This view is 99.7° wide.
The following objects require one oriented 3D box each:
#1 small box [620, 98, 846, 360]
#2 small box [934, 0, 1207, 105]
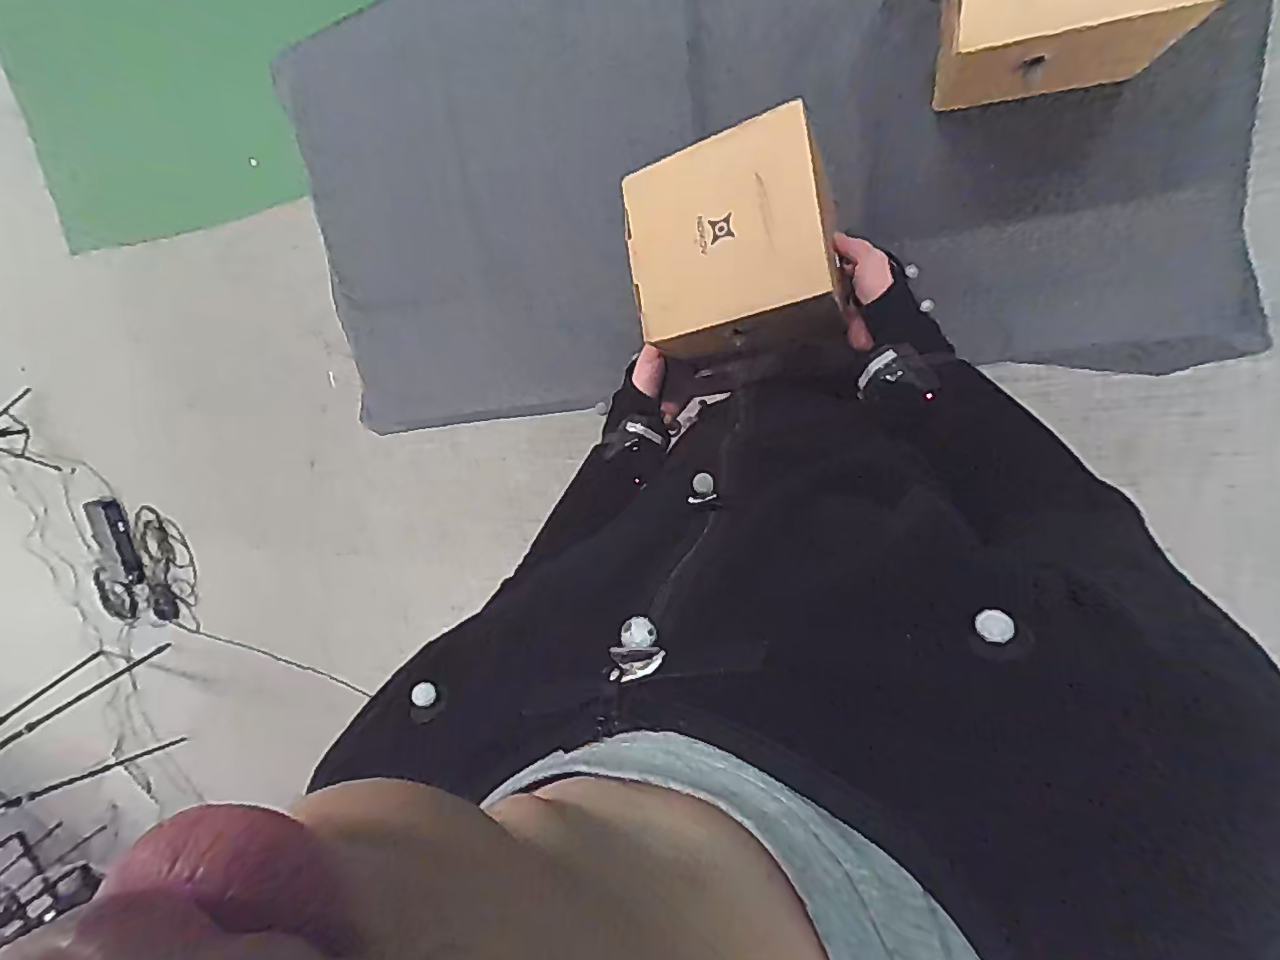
[{"bbox_3d":[0.103,-0.229,0.553,0.179,0.176,0.168,-9,90,25],"label":"small box"},{"bbox_3d":[0.362,-0.452,0.465,0.179,0.176,0.168,4,110,23],"label":"small box"}]
